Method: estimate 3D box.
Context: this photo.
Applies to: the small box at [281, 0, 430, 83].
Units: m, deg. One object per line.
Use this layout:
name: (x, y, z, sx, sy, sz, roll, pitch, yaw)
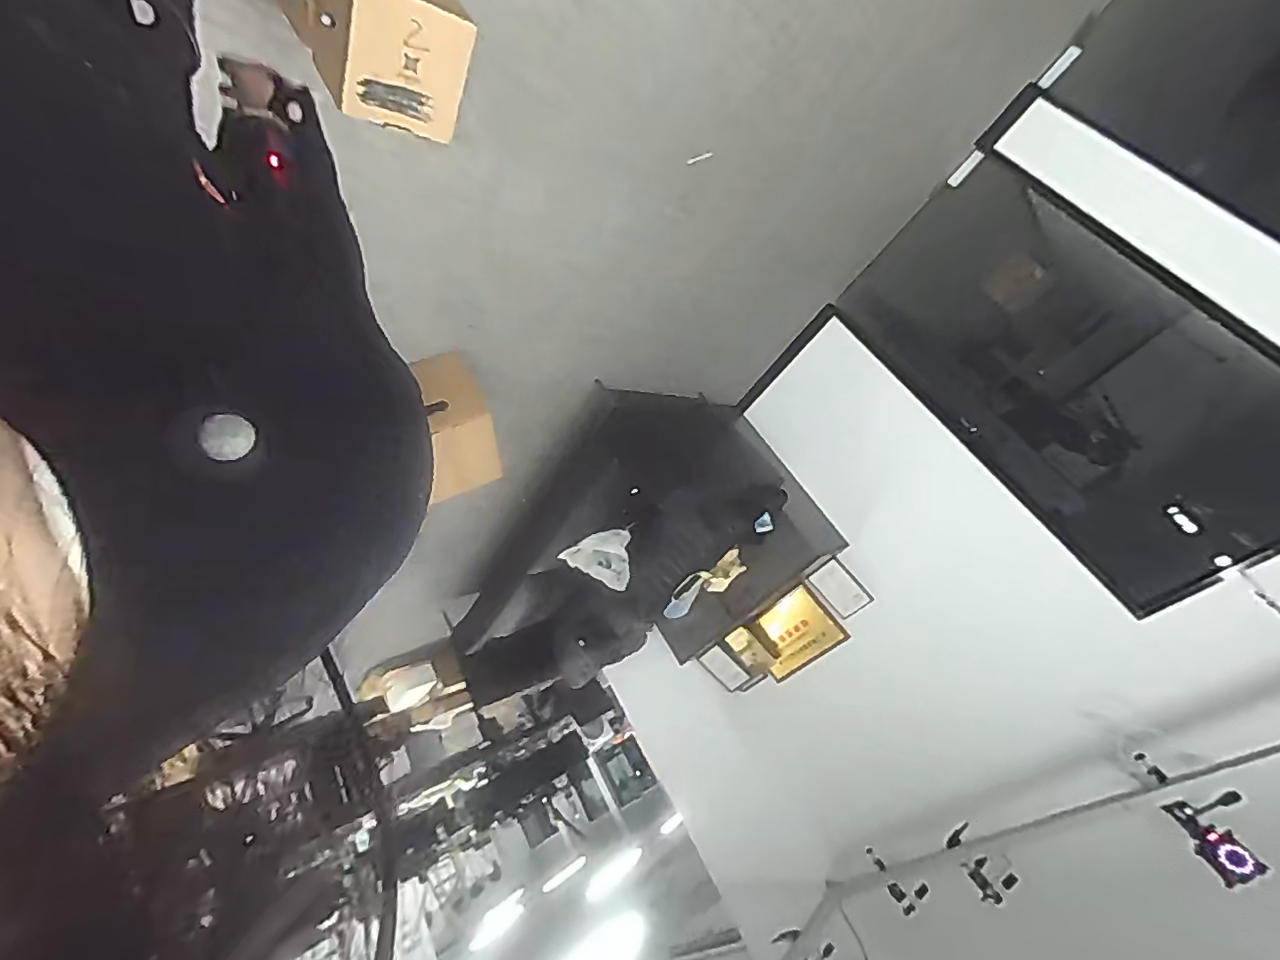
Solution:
small box: (-0.463, -0.797, 0.868, 0.179, 0.176, 0.168, -11, 150, -45)
